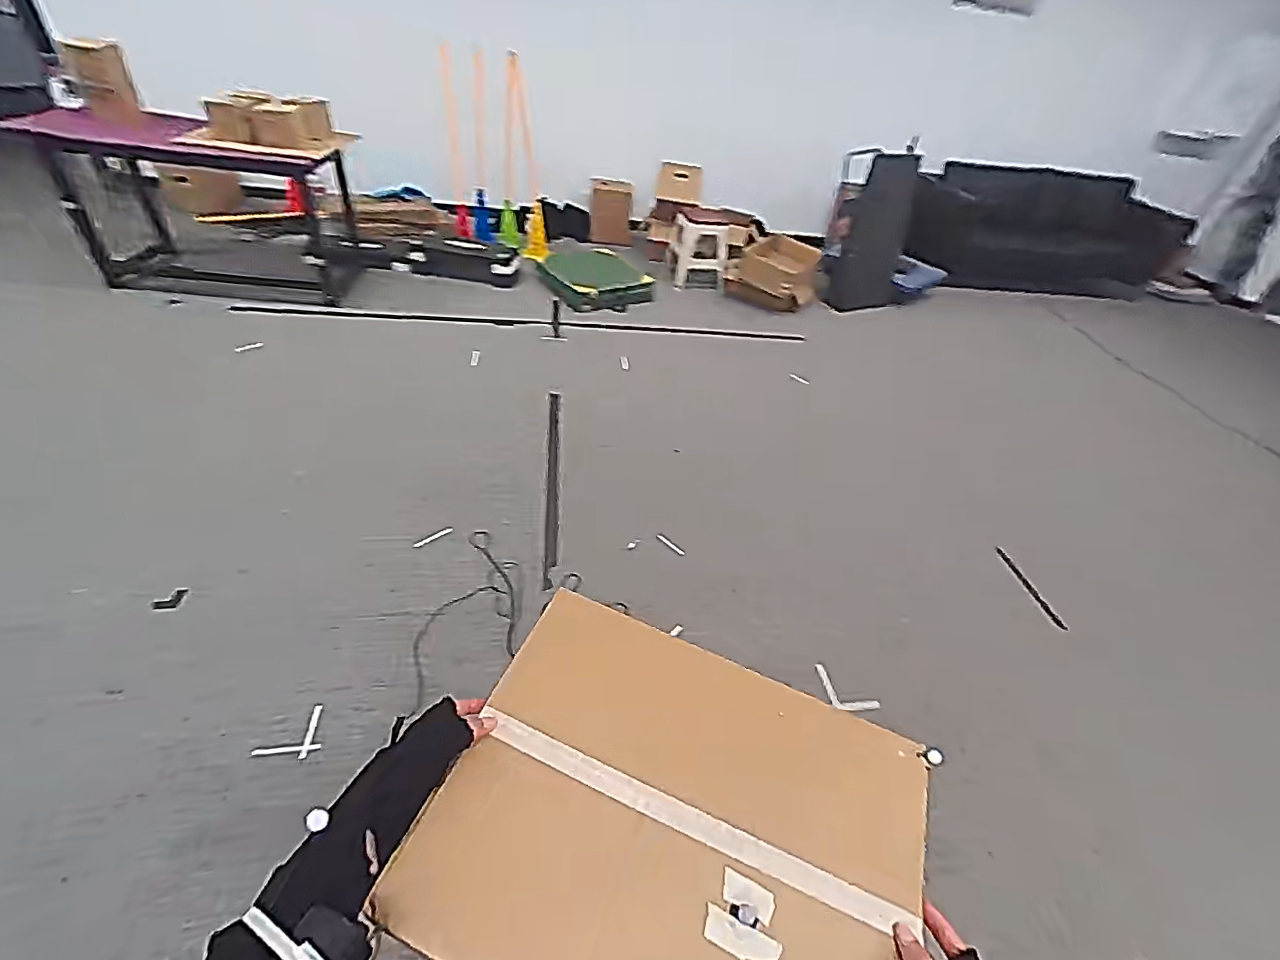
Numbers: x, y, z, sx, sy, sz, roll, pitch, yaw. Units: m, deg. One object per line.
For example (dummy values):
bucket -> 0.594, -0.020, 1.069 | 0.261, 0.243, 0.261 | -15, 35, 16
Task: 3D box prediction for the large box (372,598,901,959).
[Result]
large box -> 0.008, 0.396, 0.585 | 0.408, 0.320, 0.320 | 21, 47, 9
